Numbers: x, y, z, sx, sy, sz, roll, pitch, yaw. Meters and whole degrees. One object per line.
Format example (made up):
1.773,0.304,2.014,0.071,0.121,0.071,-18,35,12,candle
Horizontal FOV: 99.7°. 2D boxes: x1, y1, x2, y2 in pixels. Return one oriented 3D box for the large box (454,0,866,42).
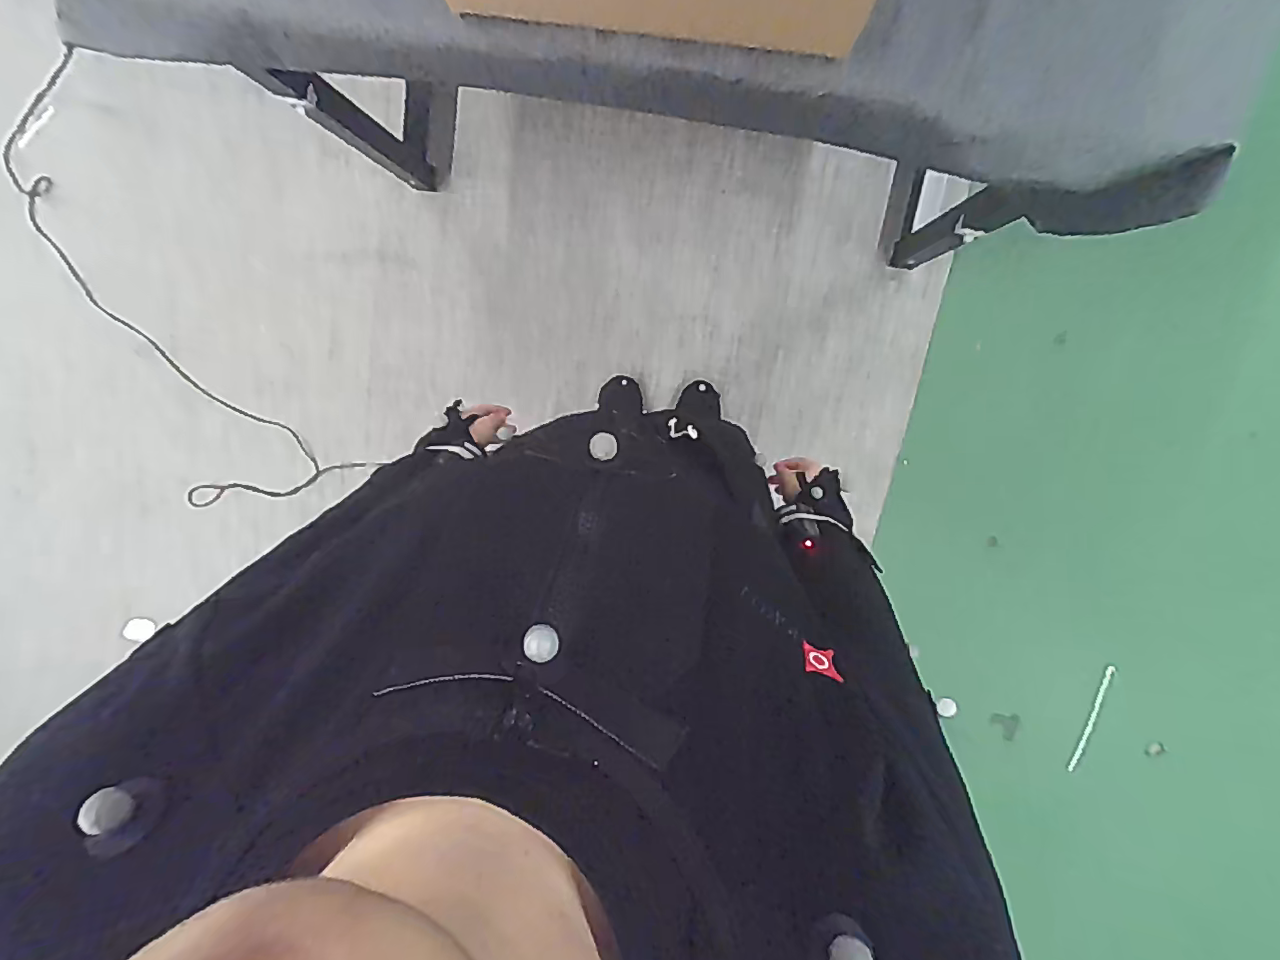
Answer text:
0.016,-0.575,0.368,0.408,0.320,0.320,8,101,2,large box
